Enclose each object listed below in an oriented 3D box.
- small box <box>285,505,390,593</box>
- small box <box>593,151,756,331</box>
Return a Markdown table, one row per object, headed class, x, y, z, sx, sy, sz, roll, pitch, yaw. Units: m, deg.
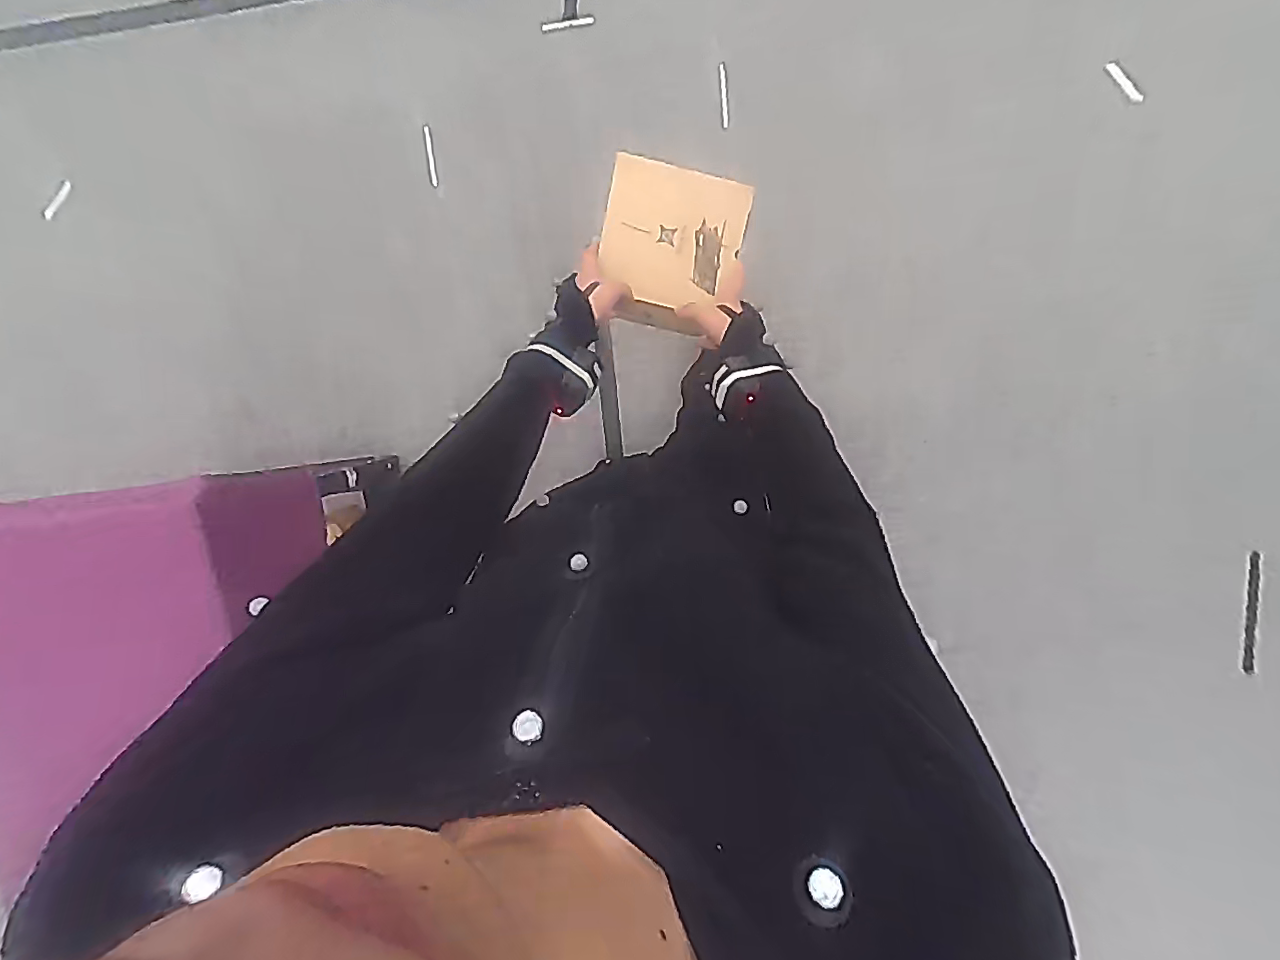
| class | x | y | z | sx | sy | sz | roll | pitch | yaw |
| --- | --- | --- | --- | --- | --- | --- | --- | --- | --- |
| small box | -0.887 | 0.199 | 1.603 | 0.179 | 0.176 | 0.168 | -34 | 97 | 8 |
| small box | 0.037 | -0.311 | 0.744 | 0.179 | 0.176 | 0.168 | 12 | 97 | -5 |
